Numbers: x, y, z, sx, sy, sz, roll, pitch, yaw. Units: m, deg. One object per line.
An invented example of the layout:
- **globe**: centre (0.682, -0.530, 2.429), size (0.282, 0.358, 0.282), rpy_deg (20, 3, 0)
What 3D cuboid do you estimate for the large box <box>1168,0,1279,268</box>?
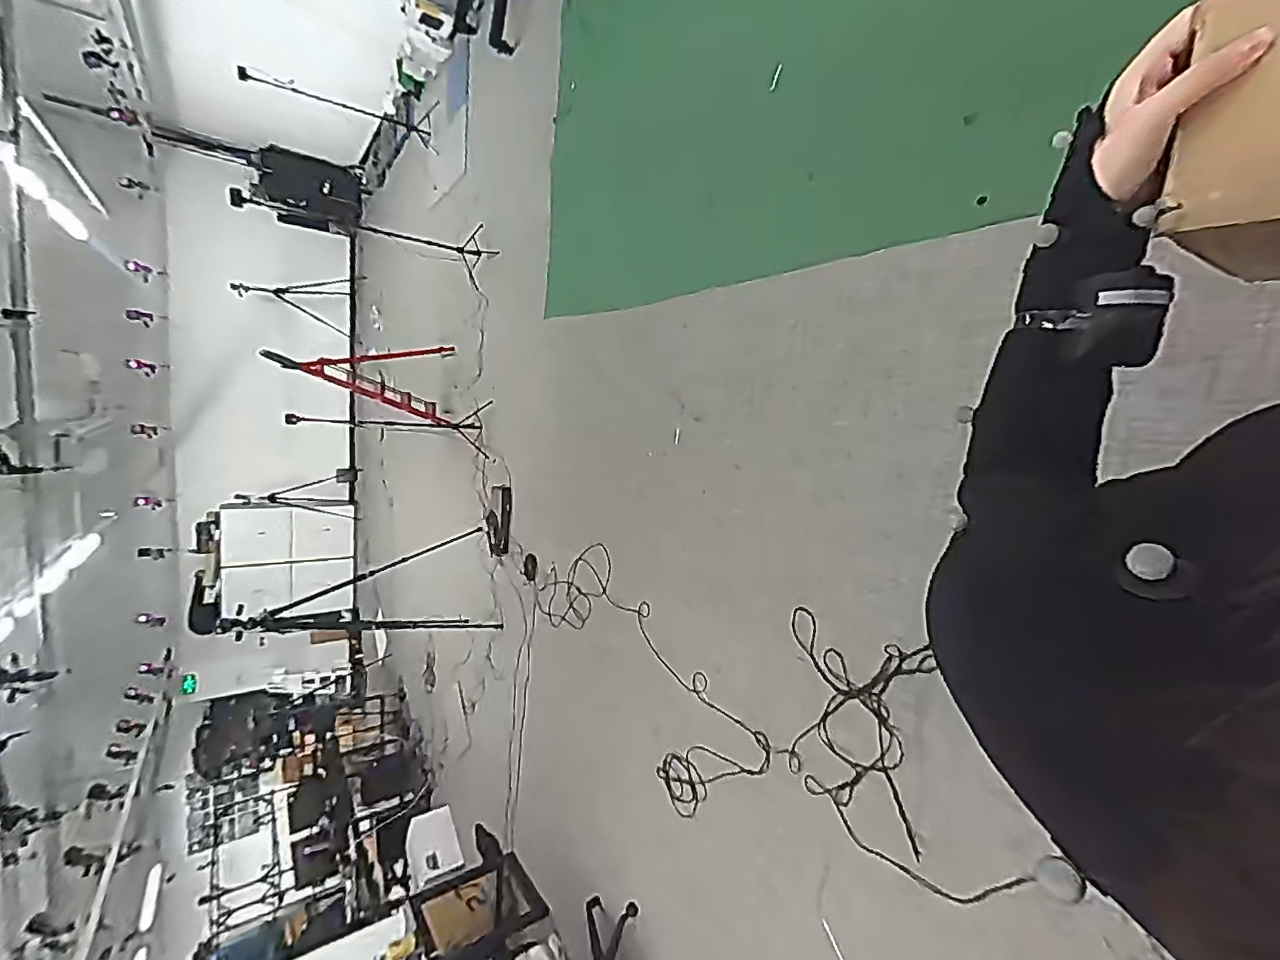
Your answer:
- **large box**: centre (0.603, -0.307, 0.266), size (0.408, 0.320, 0.320), rpy_deg (18, 110, 55)
